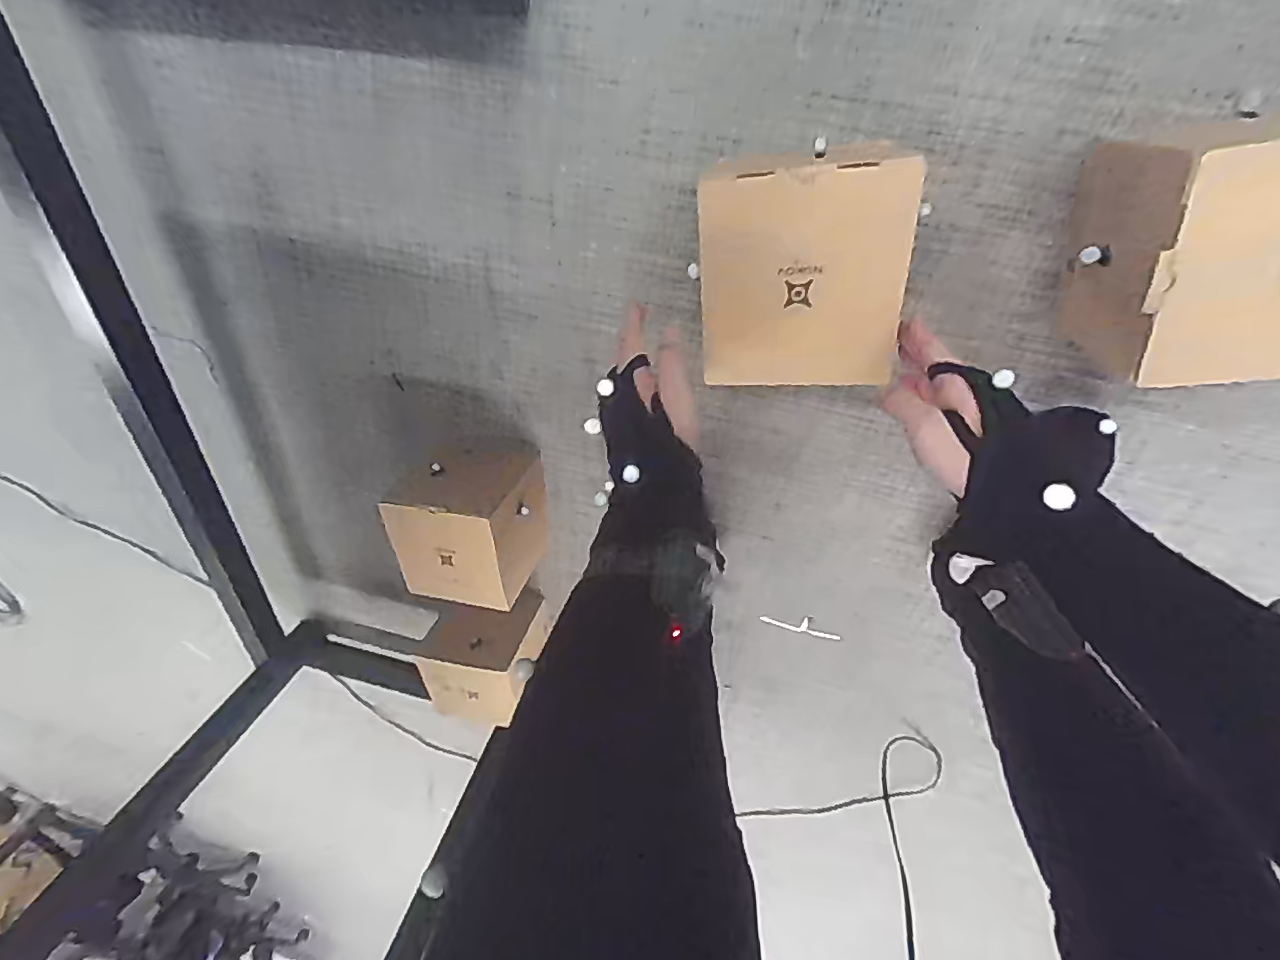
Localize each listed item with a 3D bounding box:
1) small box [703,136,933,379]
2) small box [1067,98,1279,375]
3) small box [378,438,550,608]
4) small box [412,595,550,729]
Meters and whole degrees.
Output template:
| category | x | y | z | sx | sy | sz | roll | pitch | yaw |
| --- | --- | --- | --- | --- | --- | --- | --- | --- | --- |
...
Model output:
| category | x | y | z | sx | sy | sz | roll | pitch | yaw |
| --- | --- | --- | --- | --- | --- | --- | --- | --- | --- |
| small box | 0.153 | -0.209 | 0.505 | 0.168 | 0.176 | 0.179 | 3 | 124 | 14 |
| small box | 0.475 | -0.194 | 0.421 | 0.179 | 0.176 | 0.168 | -1 | 123 | 18 |
| small box | -0.243 | 0.056 | 0.795 | 0.168 | 0.176 | 0.179 | 8 | 125 | 12 |
| small box | -0.271 | 0.315 | 0.977 | 0.179 | 0.176 | 0.168 | 6 | 125 | 12 |
